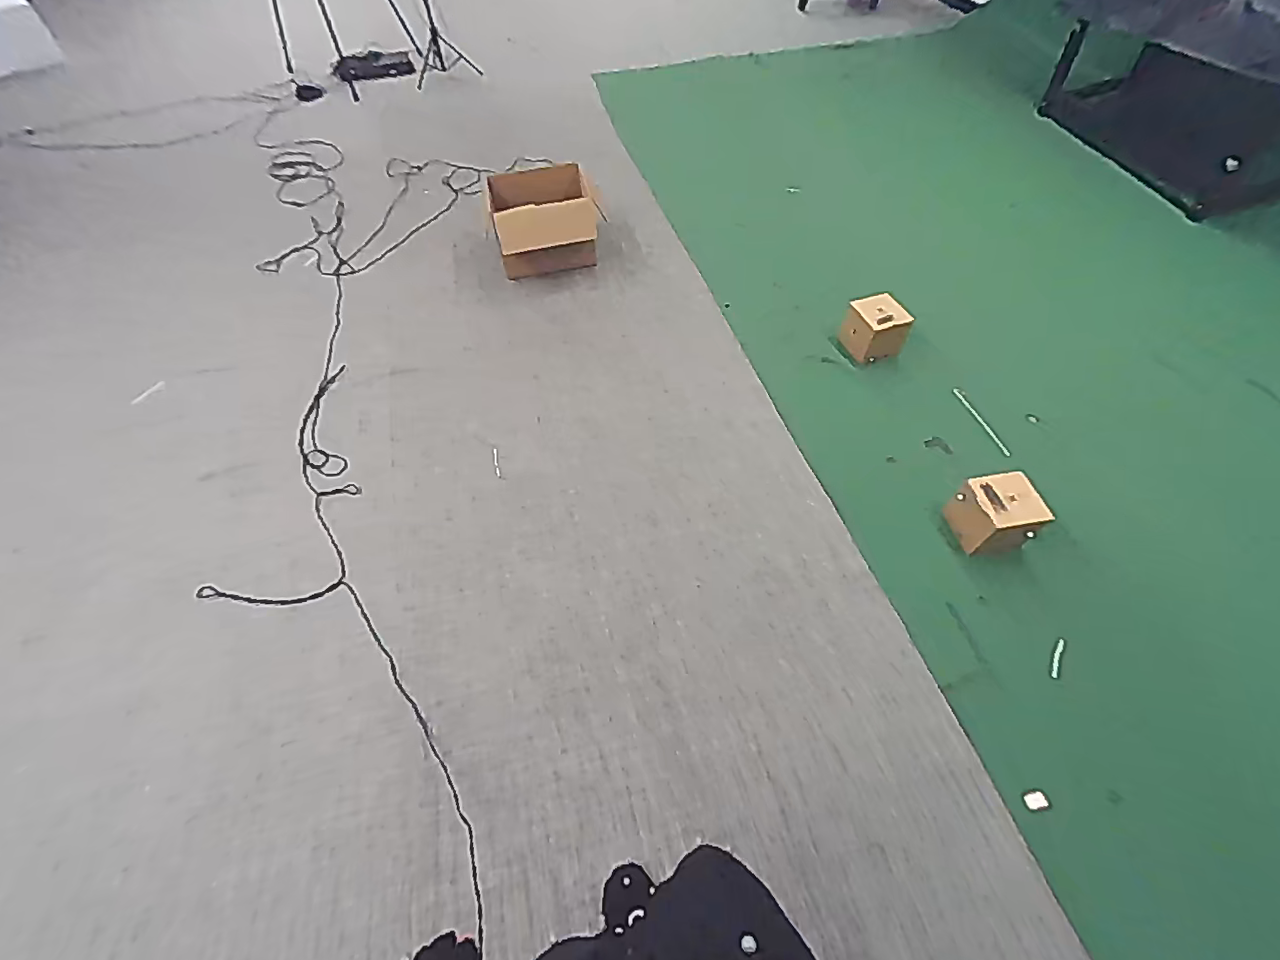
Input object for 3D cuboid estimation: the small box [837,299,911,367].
[{"bbox_3d":[0.876,-0.547,2.037,0.168,0.176,0.179,-16,55,-10],"label":"small box"}]
